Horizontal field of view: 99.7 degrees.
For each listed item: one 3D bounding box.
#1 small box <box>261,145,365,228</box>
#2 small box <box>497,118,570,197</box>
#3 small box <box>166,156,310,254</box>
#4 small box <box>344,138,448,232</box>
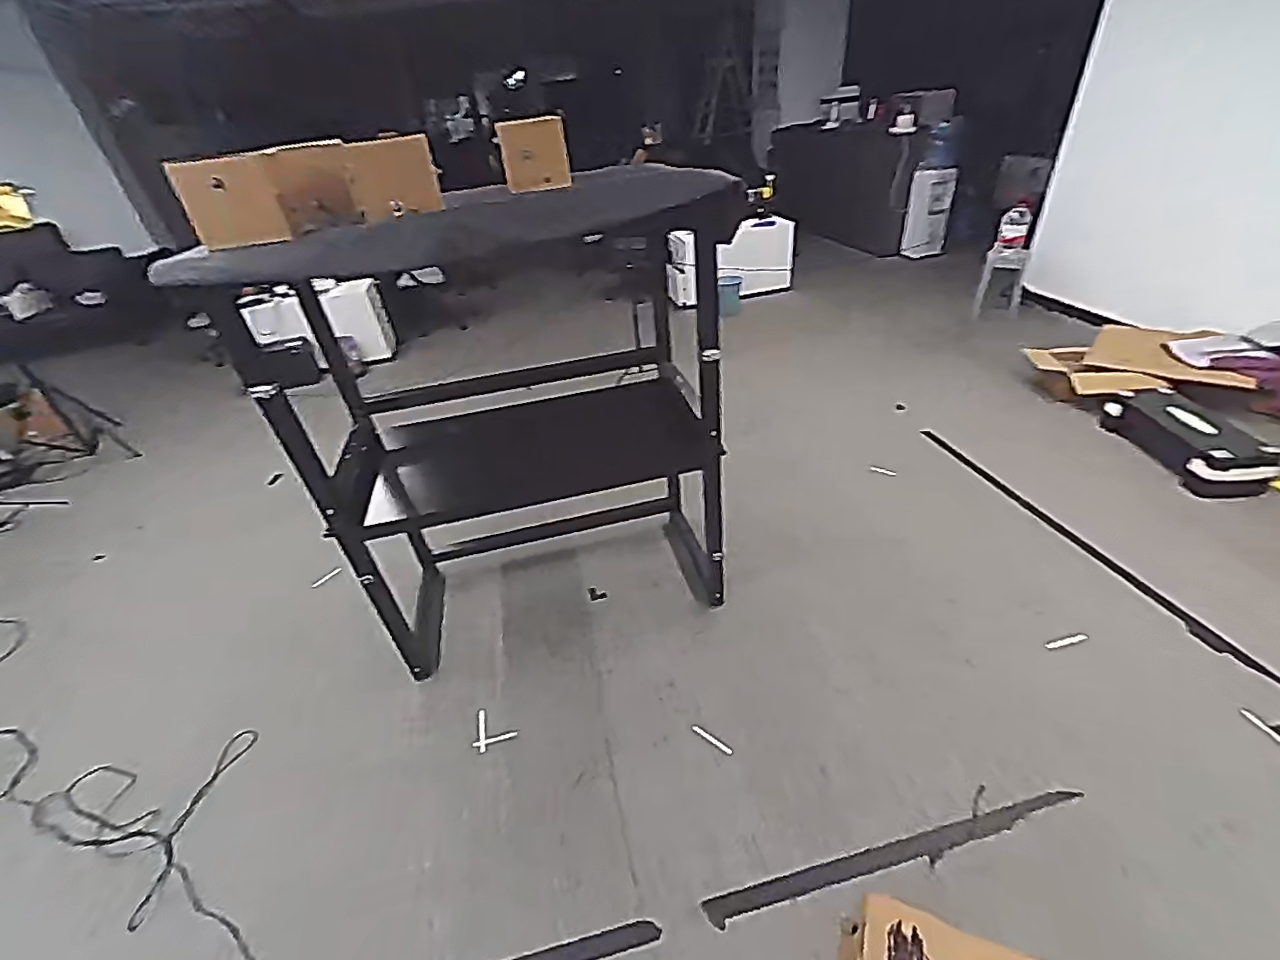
[{"bbox_3d":[-0.855,-0.781,1.437,0.179,0.176,0.168,-13,36,-10],"label":"small box"},{"bbox_3d":[-0.300,-0.909,1.526,0.168,0.176,0.179,-13,36,-8],"label":"small box"},{"bbox_3d":[-0.871,-0.607,1.193,0.179,0.176,0.168,-14,35,-11],"label":"small box"},{"bbox_3d":[-0.550,-0.677,1.241,0.168,0.176,0.179,-16,35,-11],"label":"small box"}]
